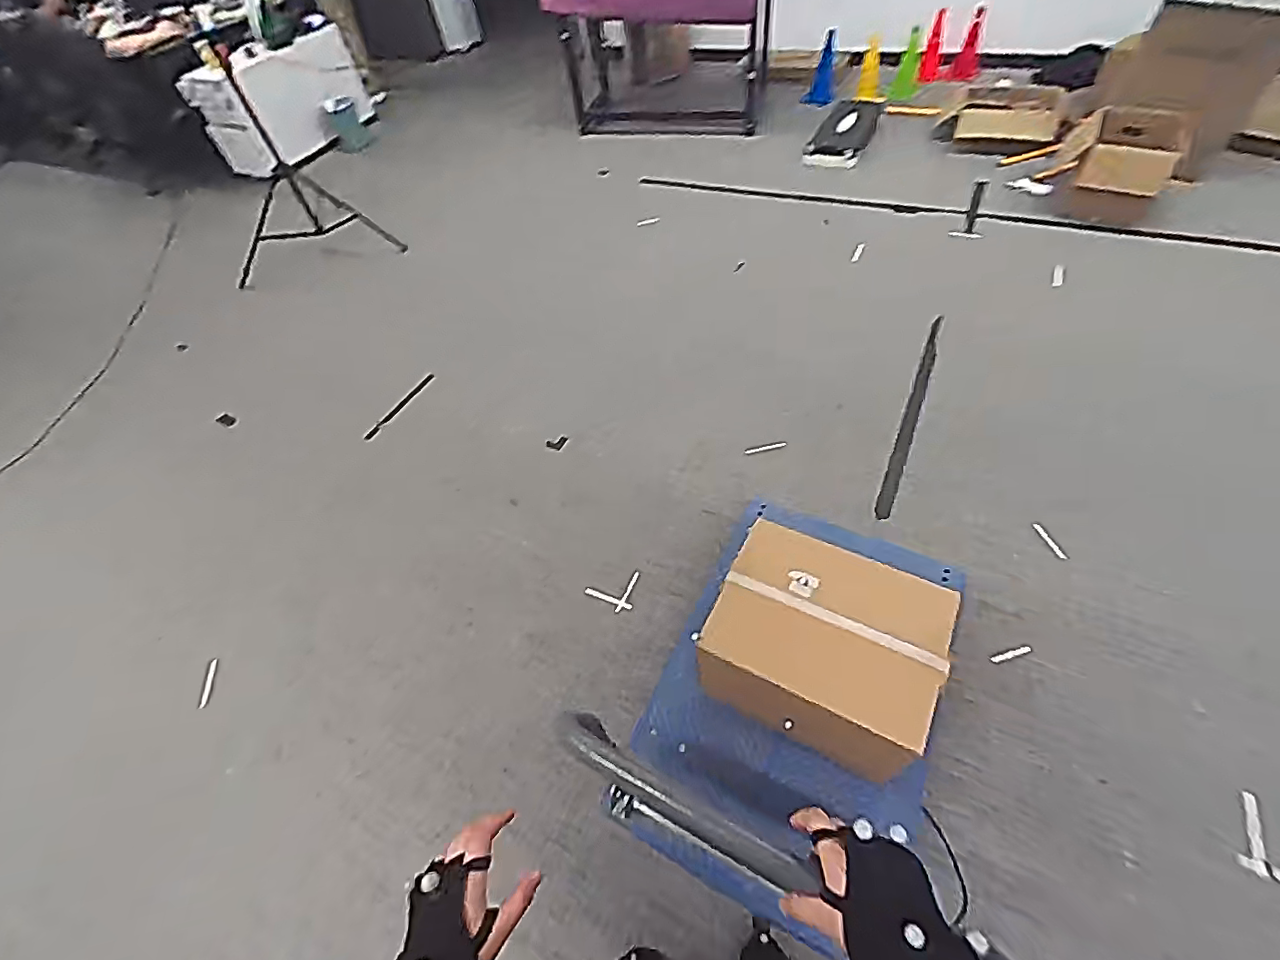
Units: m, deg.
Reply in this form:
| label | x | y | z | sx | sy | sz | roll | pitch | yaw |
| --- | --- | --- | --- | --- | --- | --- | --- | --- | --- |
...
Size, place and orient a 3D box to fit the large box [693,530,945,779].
| label | x | y | z | sx | sy | sz | roll | pitch | yaw |
| --- | --- | --- | --- | --- | --- | --- | --- | --- | --- |
| large box | 0.363 | 0.367 | 1.148 | 0.408 | 0.320 | 0.320 | 19 | 57 | 22 |
